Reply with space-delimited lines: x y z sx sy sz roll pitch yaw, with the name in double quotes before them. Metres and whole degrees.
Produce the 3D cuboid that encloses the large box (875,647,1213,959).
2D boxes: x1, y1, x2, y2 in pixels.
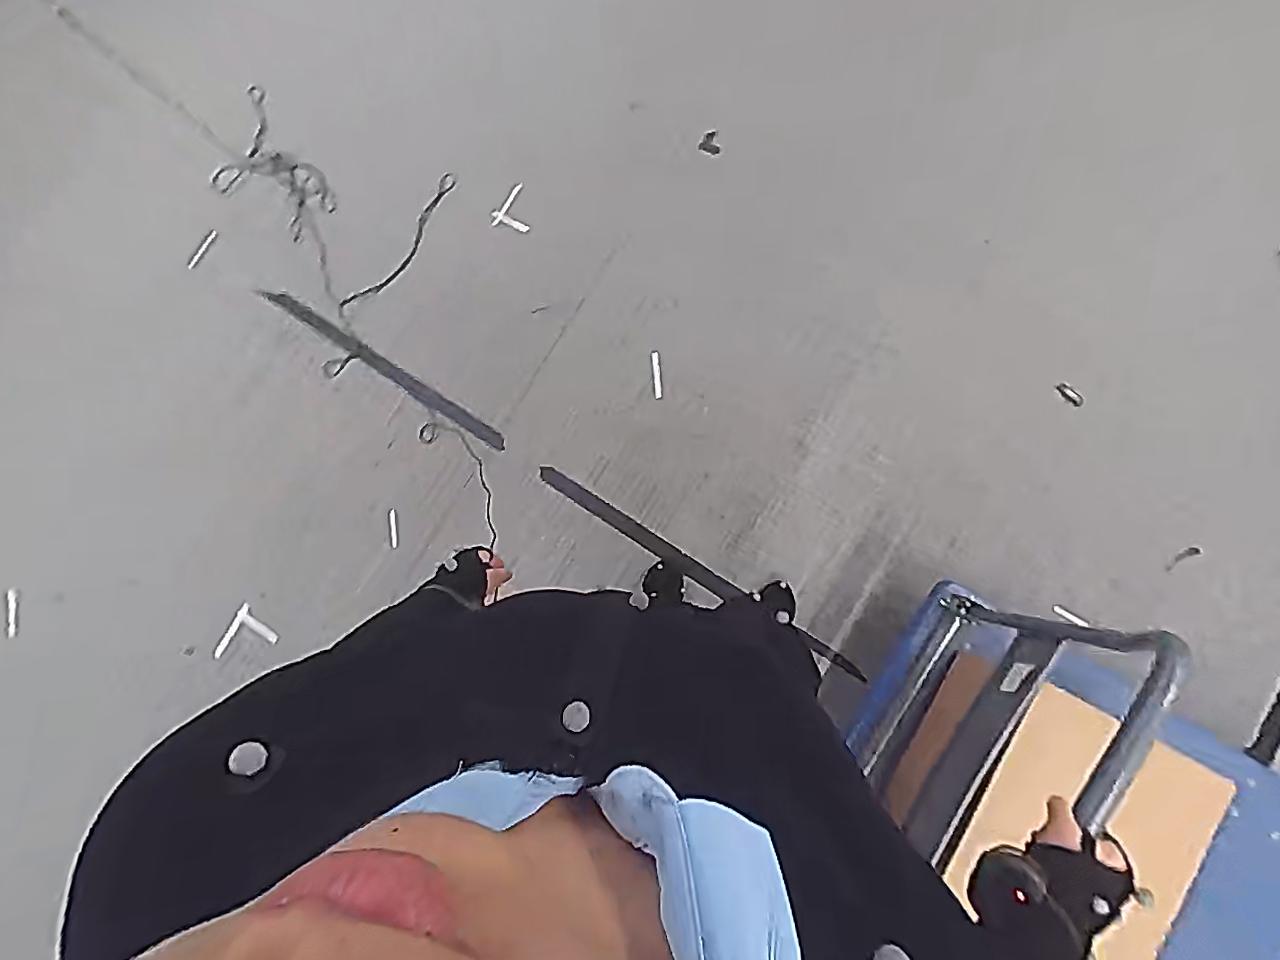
"large box" 0.723 0.594 1.035 0.320 0.320 0.408 29 87 11
